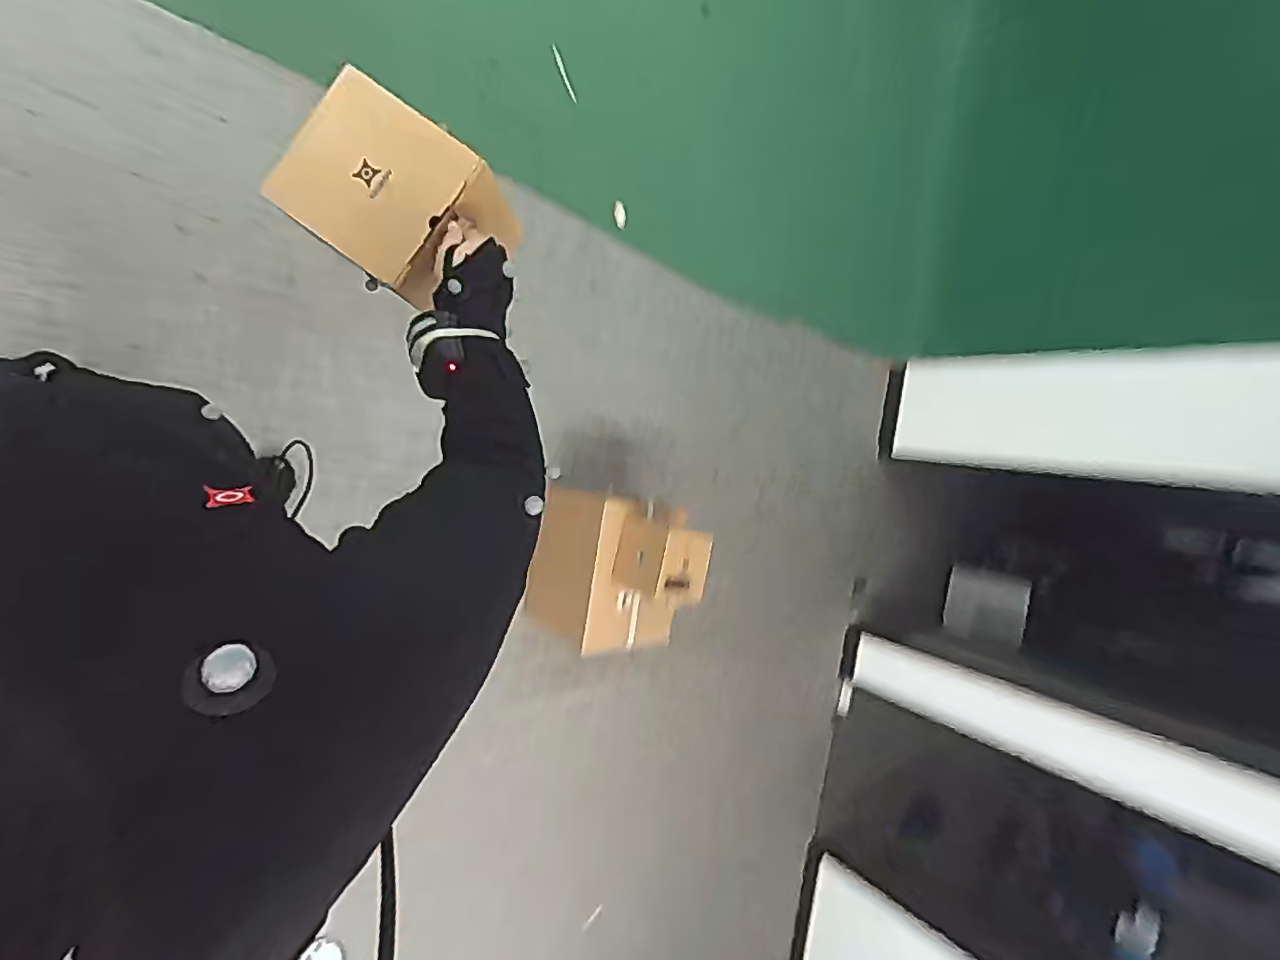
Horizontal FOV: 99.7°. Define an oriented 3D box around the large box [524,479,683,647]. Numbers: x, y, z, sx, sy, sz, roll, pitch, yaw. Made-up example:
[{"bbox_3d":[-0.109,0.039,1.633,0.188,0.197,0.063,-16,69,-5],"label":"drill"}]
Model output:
[{"bbox_3d":[-0.113,0.222,1.584,0.320,0.320,0.408,6,95,-40],"label":"large box"}]
